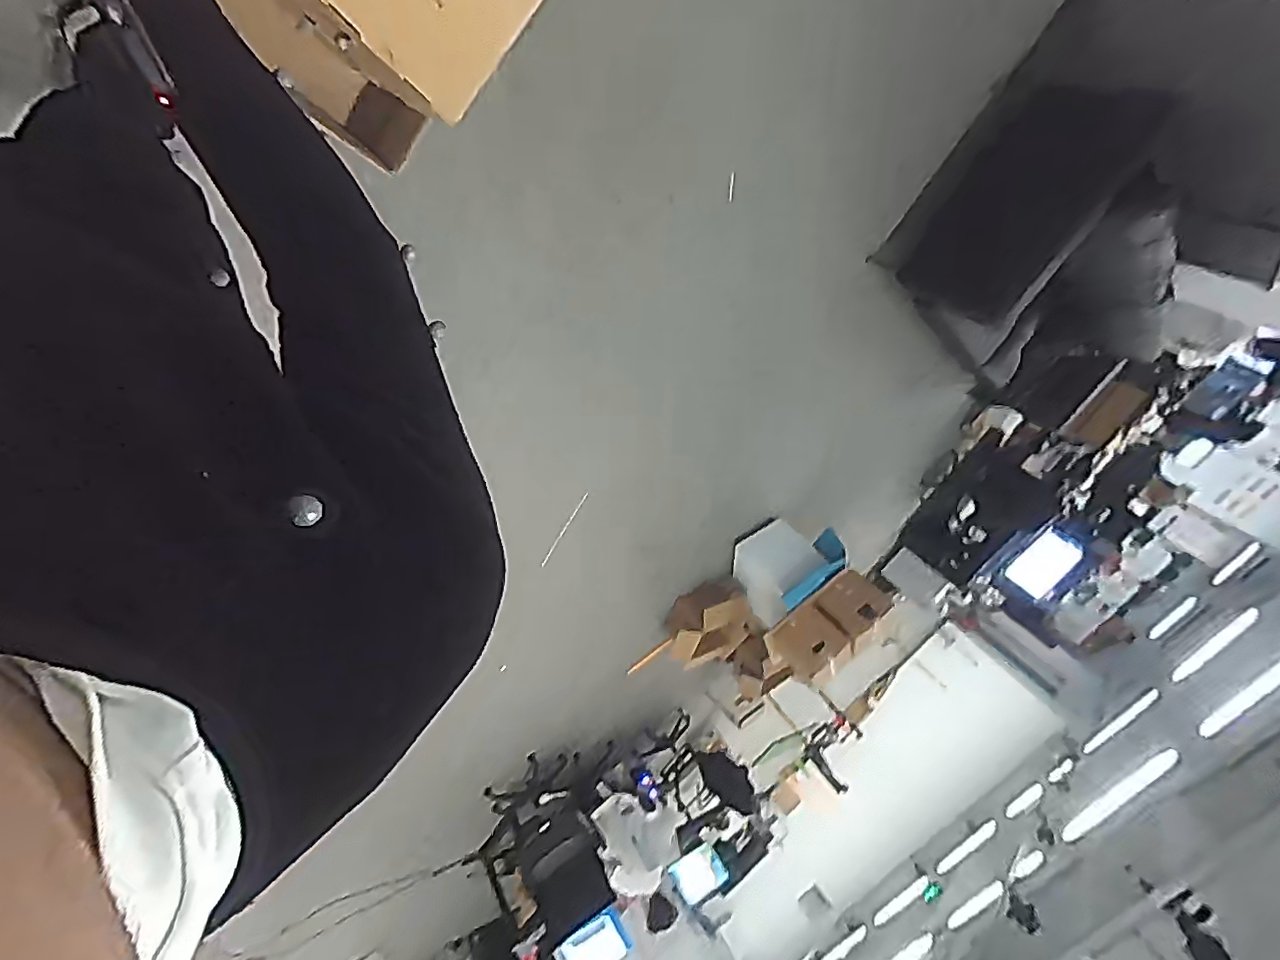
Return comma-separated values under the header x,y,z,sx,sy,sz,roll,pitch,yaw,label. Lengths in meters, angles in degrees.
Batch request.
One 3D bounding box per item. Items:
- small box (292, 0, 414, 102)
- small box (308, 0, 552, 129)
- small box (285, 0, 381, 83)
x,y,z,sx,sy,sz,roll,pitch,yaw,label
-0.310,-0.598,0.633,0.179,0.176,0.168,-49,143,10,small box
-0.220,-0.502,0.538,0.179,0.176,0.168,-49,142,10,small box
-0.394,-0.696,0.733,0.179,0.176,0.168,-48,142,9,small box
